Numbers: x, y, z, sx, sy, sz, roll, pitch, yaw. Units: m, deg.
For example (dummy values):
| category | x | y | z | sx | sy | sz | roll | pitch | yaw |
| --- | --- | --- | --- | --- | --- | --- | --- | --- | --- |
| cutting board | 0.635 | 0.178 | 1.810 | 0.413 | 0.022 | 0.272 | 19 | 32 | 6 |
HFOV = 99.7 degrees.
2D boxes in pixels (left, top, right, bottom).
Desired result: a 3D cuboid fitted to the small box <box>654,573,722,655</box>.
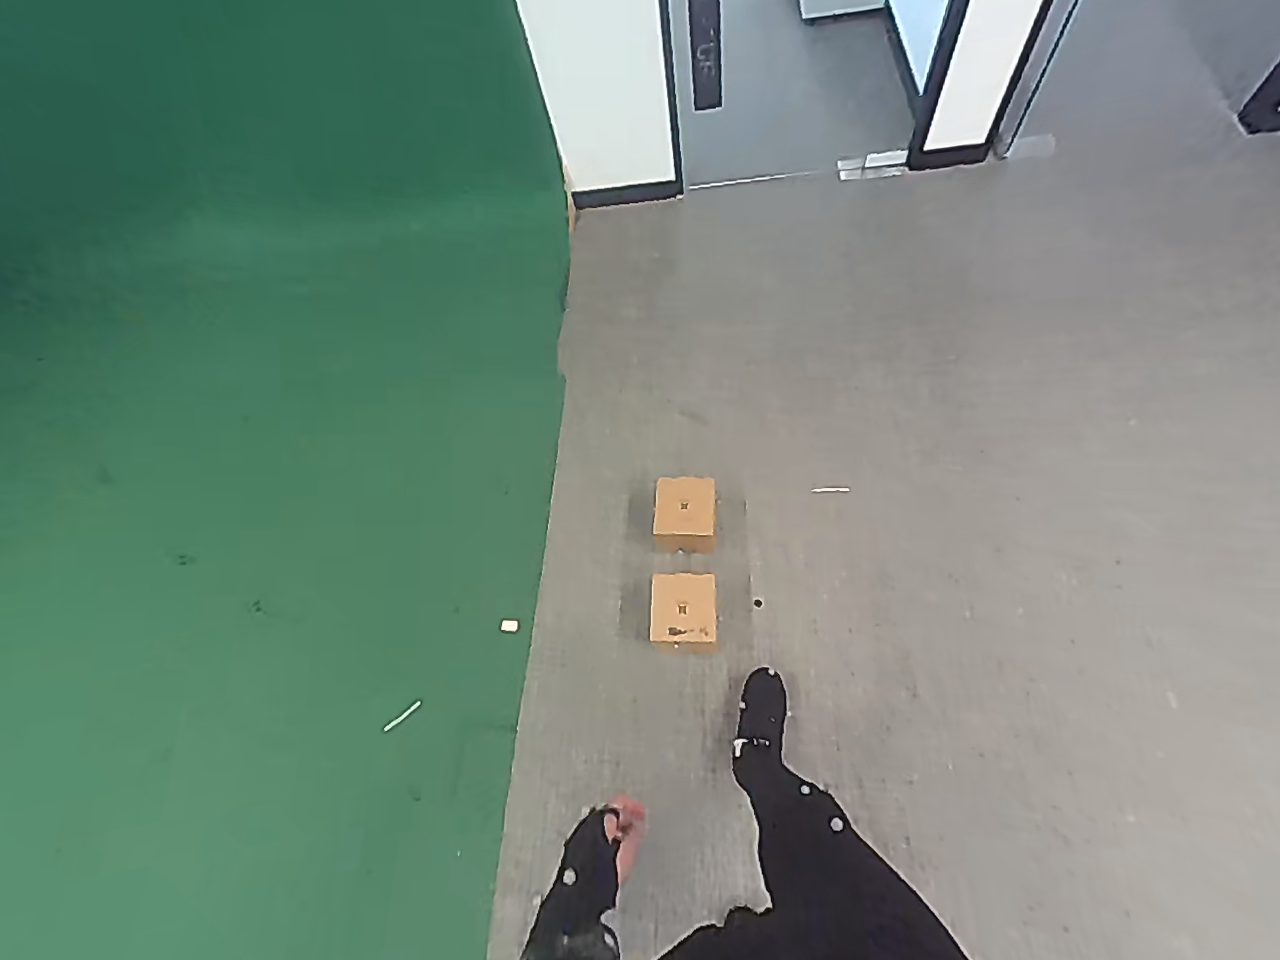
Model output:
| category | x | y | z | sx | sy | sz | roll | pitch | yaw |
| --- | --- | --- | --- | --- | --- | --- | --- | --- | --- |
| small box | 0.134 | 0.360 | 1.450 | 0.168 | 0.176 | 0.179 | -2 | 62 | 10 |
